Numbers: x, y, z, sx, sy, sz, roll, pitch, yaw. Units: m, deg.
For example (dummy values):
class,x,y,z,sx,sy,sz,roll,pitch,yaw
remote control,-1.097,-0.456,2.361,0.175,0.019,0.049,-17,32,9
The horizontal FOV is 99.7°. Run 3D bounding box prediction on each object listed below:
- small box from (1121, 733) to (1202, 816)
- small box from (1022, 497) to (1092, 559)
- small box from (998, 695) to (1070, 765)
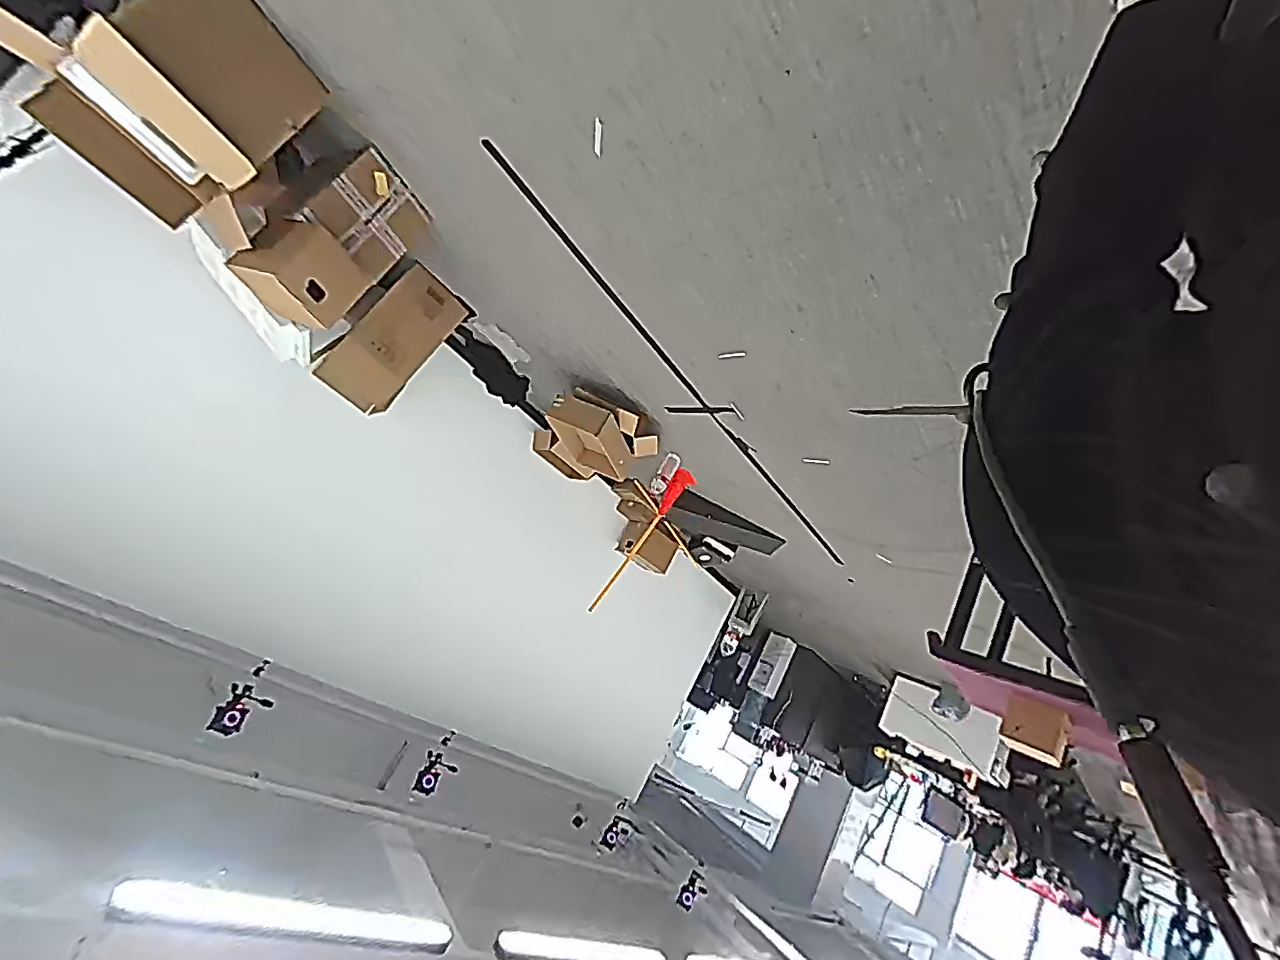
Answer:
class,x,y,z,sx,sy,sz,roll,pitch,yaw
small box,1.689,0.948,1.753,0.168,0.176,0.179,11,156,50
small box,1.656,0.186,2.149,0.179,0.176,0.168,17,157,34
small box,1.485,0.932,2.036,0.179,0.176,0.168,9,153,48
